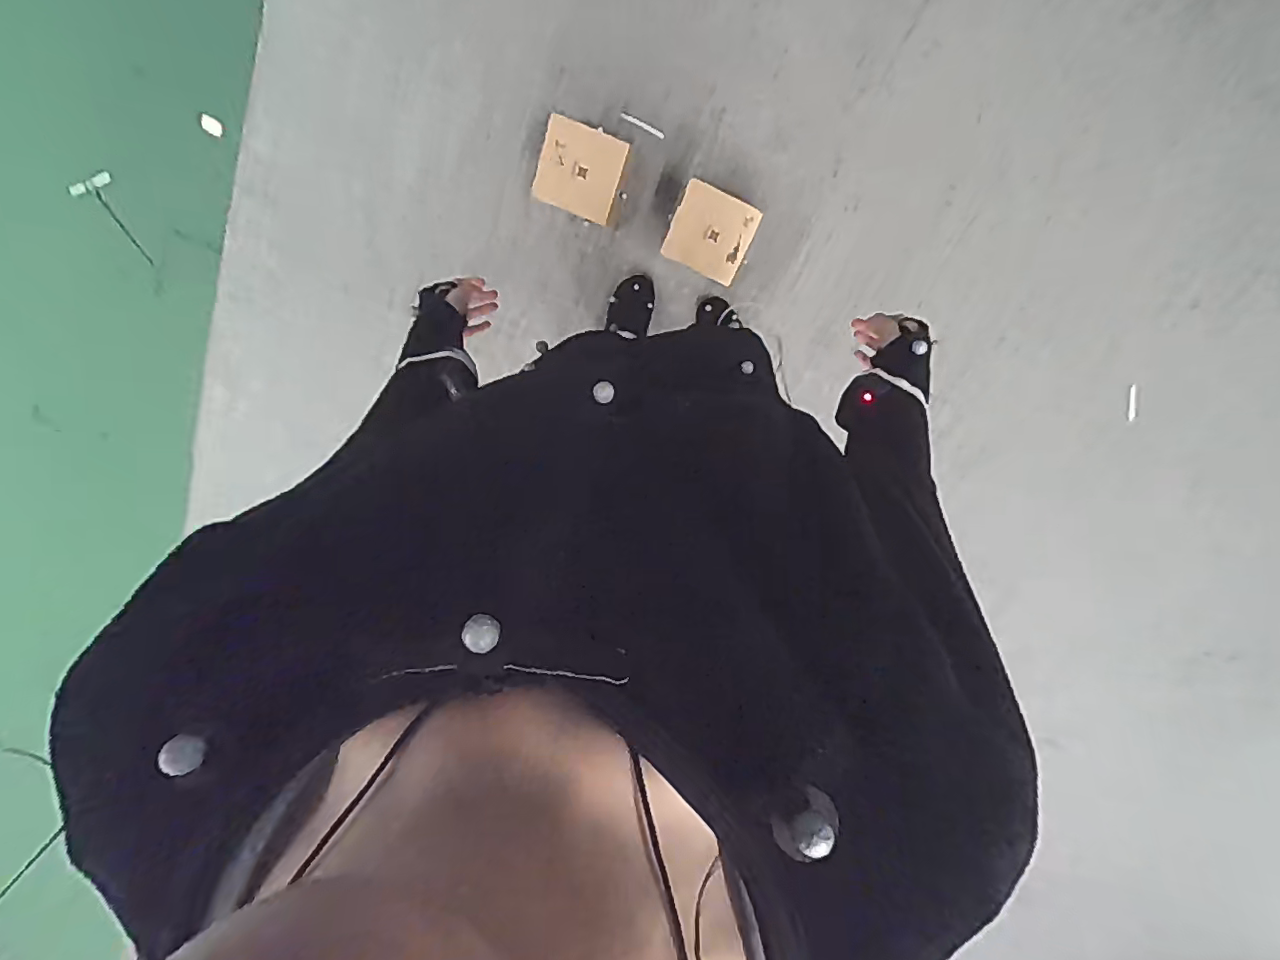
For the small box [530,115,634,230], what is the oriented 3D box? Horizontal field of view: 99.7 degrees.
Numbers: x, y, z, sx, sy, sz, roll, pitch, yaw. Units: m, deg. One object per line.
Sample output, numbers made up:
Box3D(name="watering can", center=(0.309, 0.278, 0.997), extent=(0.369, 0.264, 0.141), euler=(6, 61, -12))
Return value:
Box3D(name="small box", center=(-0.123, -0.681, 1.221), extent=(0.179, 0.176, 0.168), euler=(22, 110, -3))
